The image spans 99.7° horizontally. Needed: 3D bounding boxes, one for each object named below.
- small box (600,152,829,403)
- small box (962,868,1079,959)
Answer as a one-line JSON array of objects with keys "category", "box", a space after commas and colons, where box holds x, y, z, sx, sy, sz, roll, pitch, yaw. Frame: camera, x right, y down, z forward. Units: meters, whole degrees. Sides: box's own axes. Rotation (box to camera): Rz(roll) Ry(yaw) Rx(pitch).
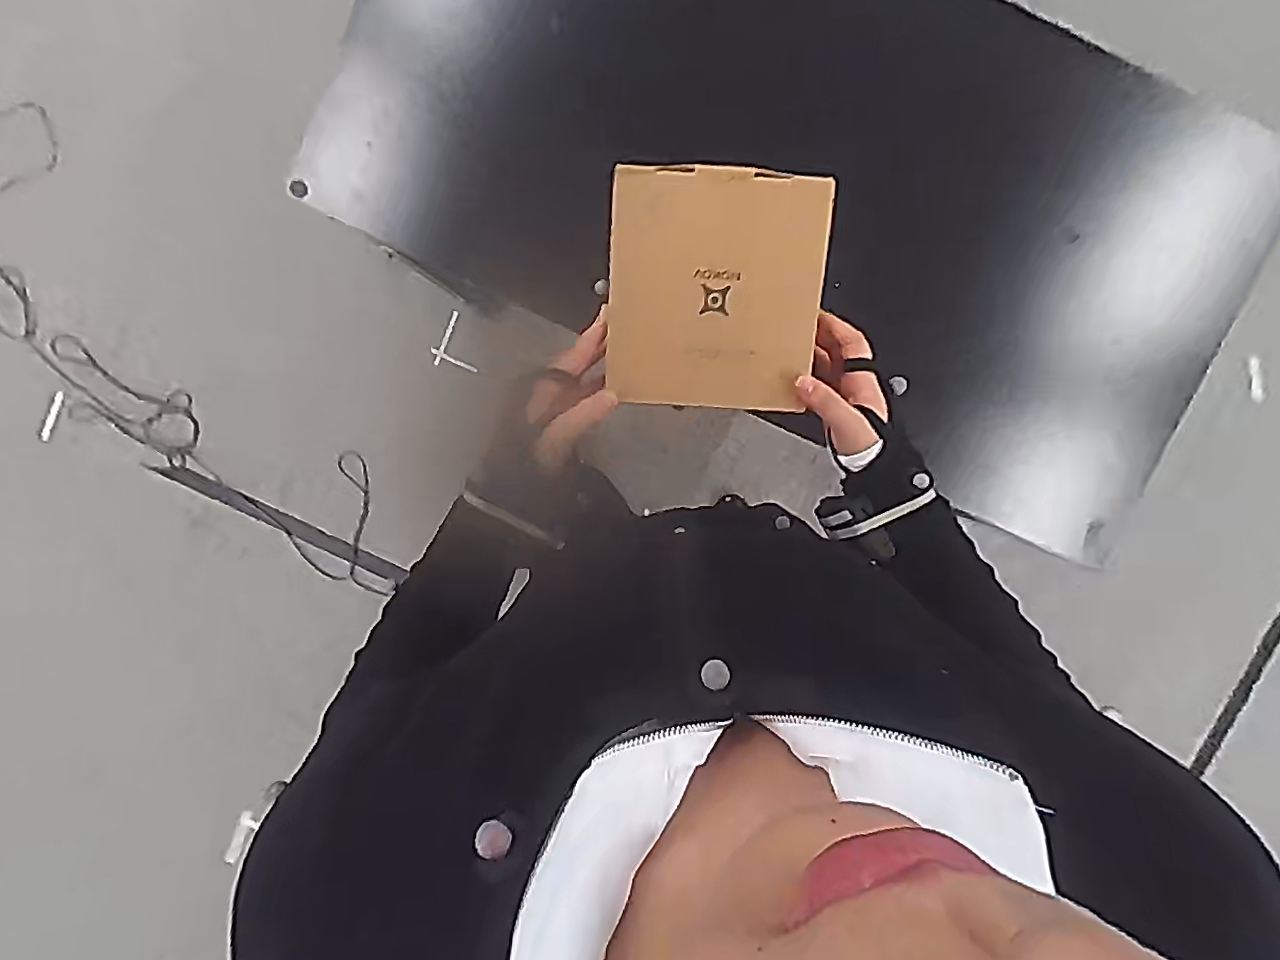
[{"category": "small box", "box": [0.054, -0.171, 0.497, 0.168, 0.176, 0.179, 4, 104, -1]}, {"category": "small box", "box": [1.048, 1.236, 1.508, 0.179, 0.176, 0.168, 24, 94, -1]}]
